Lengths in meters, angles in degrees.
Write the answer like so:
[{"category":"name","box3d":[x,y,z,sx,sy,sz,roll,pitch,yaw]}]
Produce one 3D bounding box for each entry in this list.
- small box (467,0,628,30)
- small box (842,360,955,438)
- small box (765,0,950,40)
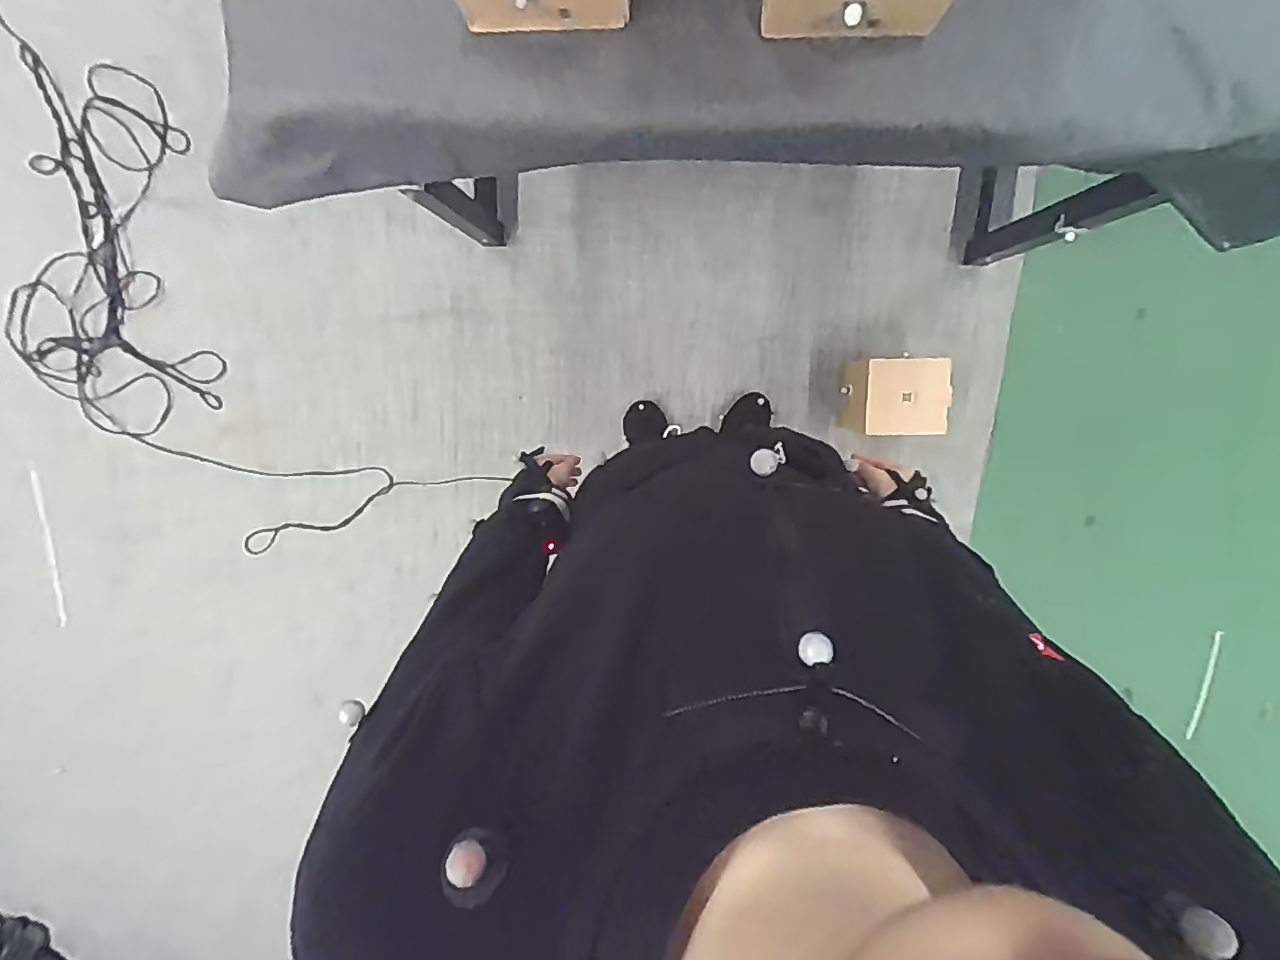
[{"category":"small box","box3d":[-0.097,-0.533,0.460,0.168,0.176,0.179,0,101,3]},{"category":"small box","box3d":[0.579,-0.187,1.228,0.179,0.176,0.168,1,100,4]},{"category":"small box","box3d":[0.201,-0.512,0.444,0.168,0.176,0.179,2,101,3]}]
